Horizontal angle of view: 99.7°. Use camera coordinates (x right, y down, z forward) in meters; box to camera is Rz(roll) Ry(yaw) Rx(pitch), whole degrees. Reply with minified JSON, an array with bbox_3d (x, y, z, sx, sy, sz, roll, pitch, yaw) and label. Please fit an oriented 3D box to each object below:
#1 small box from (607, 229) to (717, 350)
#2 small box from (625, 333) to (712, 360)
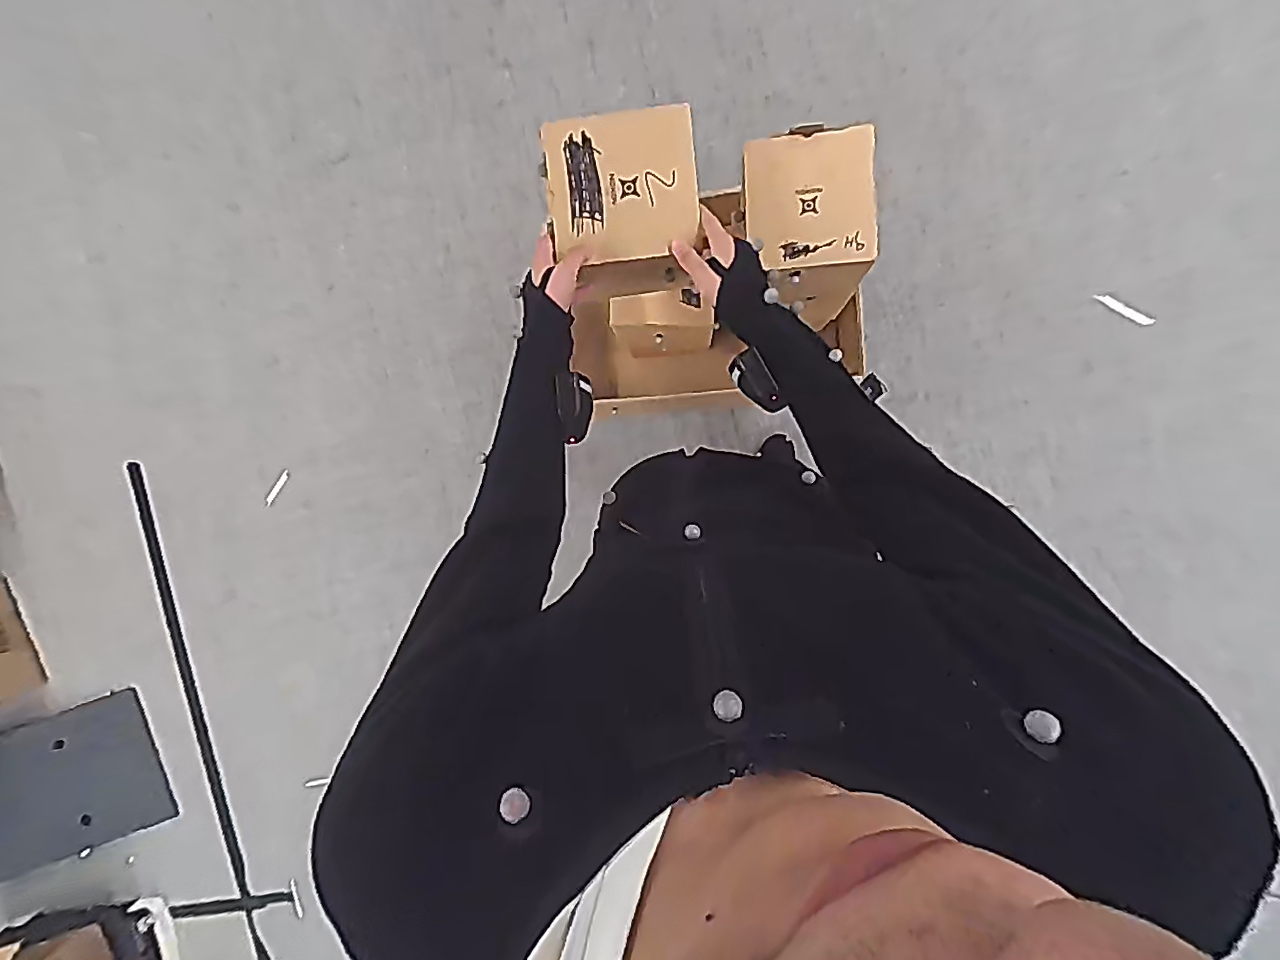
[{"bbox_3d":[0.043,-0.332,0.966,0.179,0.176,0.168,2,92,6],"label":"small box"},{"bbox_3d":[0.056,-0.351,1.129,0.179,0.176,0.168,-3,91,6],"label":"small box"}]
